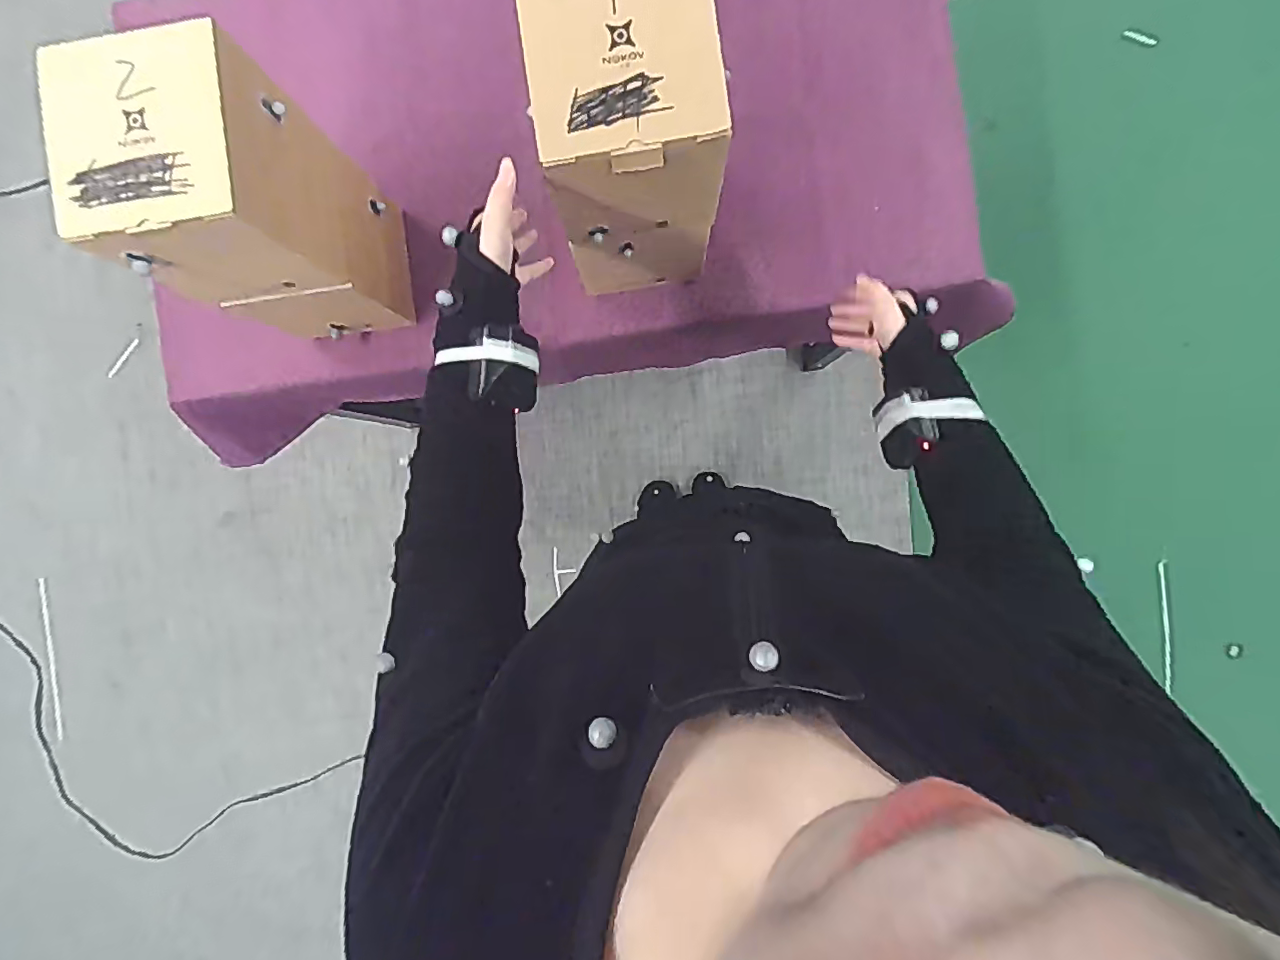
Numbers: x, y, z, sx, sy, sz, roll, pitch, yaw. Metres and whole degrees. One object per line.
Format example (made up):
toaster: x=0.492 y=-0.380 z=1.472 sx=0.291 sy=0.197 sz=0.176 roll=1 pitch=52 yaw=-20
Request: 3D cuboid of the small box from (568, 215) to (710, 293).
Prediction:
small box: x=-0.005 y=-0.365 z=0.700 sx=0.168 sy=0.176 sz=0.179 roll=-8 pitch=90 yaw=4

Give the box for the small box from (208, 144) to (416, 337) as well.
small box: x=-0.421 y=-0.305 z=0.722 sx=0.168 sy=0.176 sz=0.179 roll=-7 pitch=91 yaw=3

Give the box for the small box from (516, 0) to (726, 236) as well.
small box: x=-0.013 y=-0.363 z=0.535 sx=0.168 sy=0.176 sz=0.179 roll=-8 pitch=90 yaw=3
